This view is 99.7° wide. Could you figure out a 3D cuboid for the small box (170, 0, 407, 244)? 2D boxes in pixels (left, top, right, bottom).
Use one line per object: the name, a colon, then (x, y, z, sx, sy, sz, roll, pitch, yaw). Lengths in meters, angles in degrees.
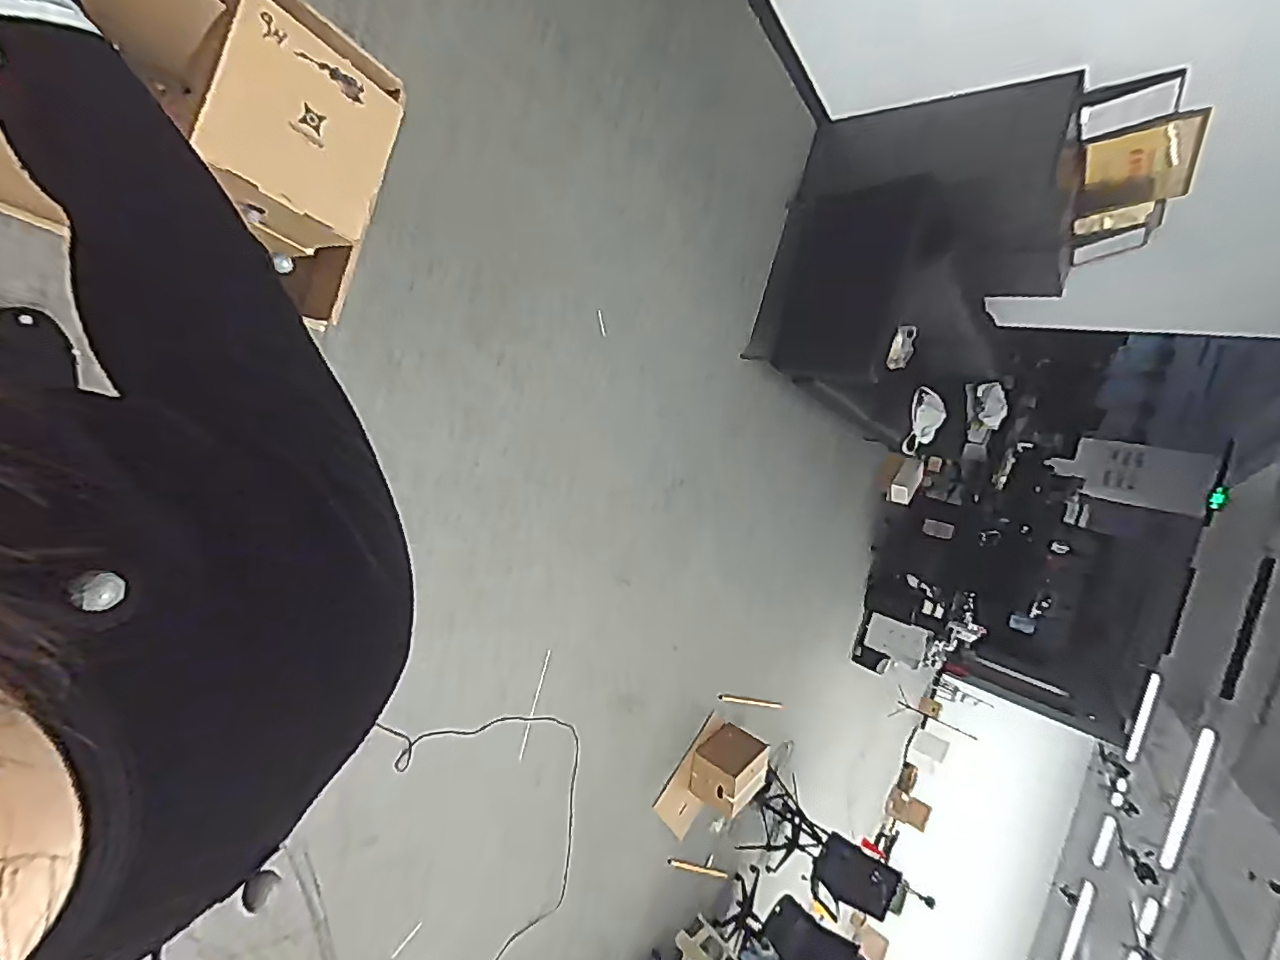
small box: (-0.410, -0.396, 0.628, 0.168, 0.176, 0.179, 20, 89, -51)
